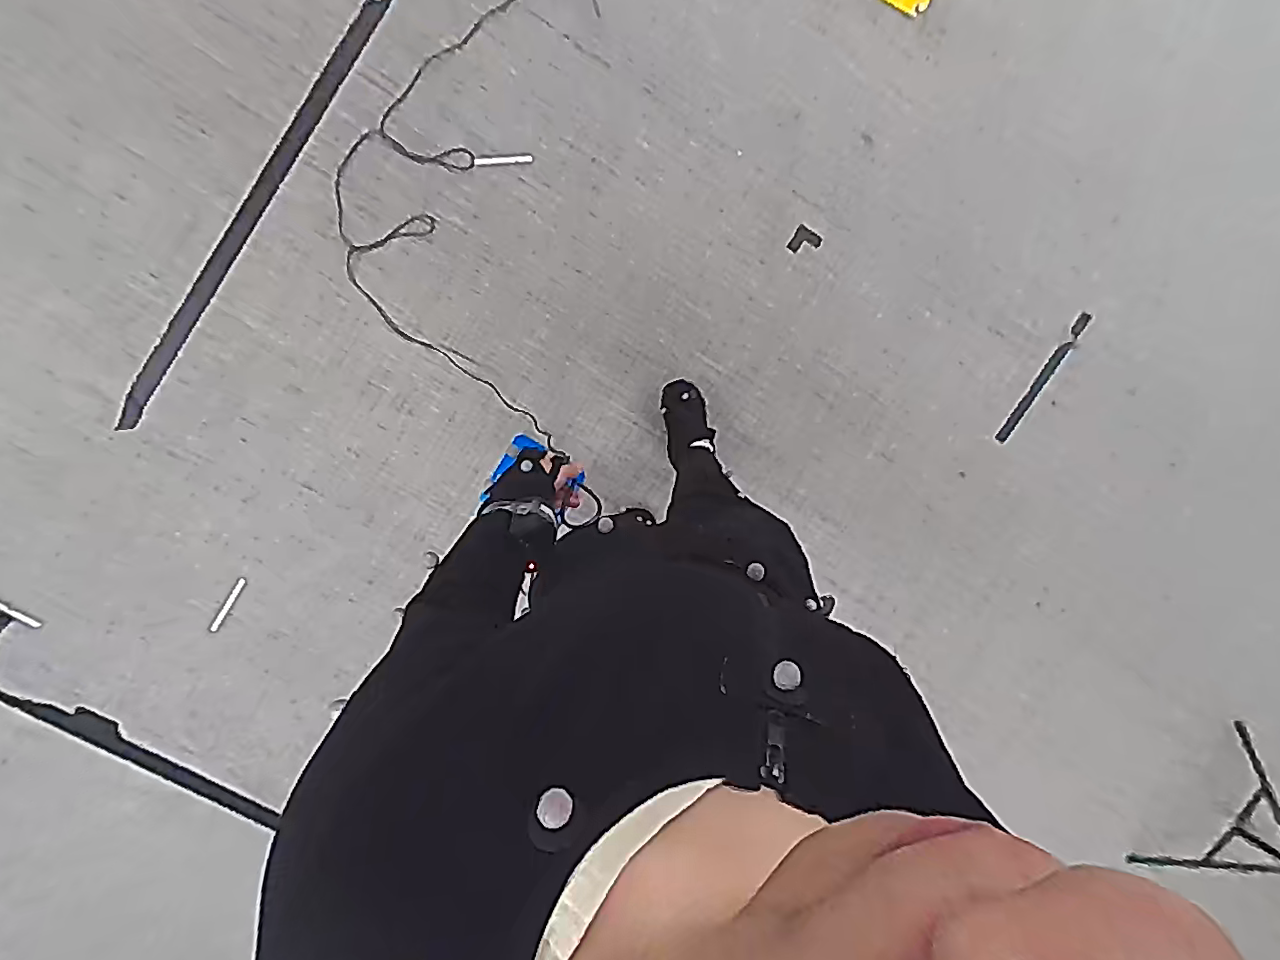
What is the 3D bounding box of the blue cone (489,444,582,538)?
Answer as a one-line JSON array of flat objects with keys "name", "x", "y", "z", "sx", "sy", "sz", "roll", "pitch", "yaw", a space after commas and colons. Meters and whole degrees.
[{"name": "blue cone", "x": -0.246, "y": 0.040, "z": 1.170, "sx": 0.192, "sy": 0.380, "sz": 0.193, "roll": 33, "pitch": 92, "yaw": -7}]
